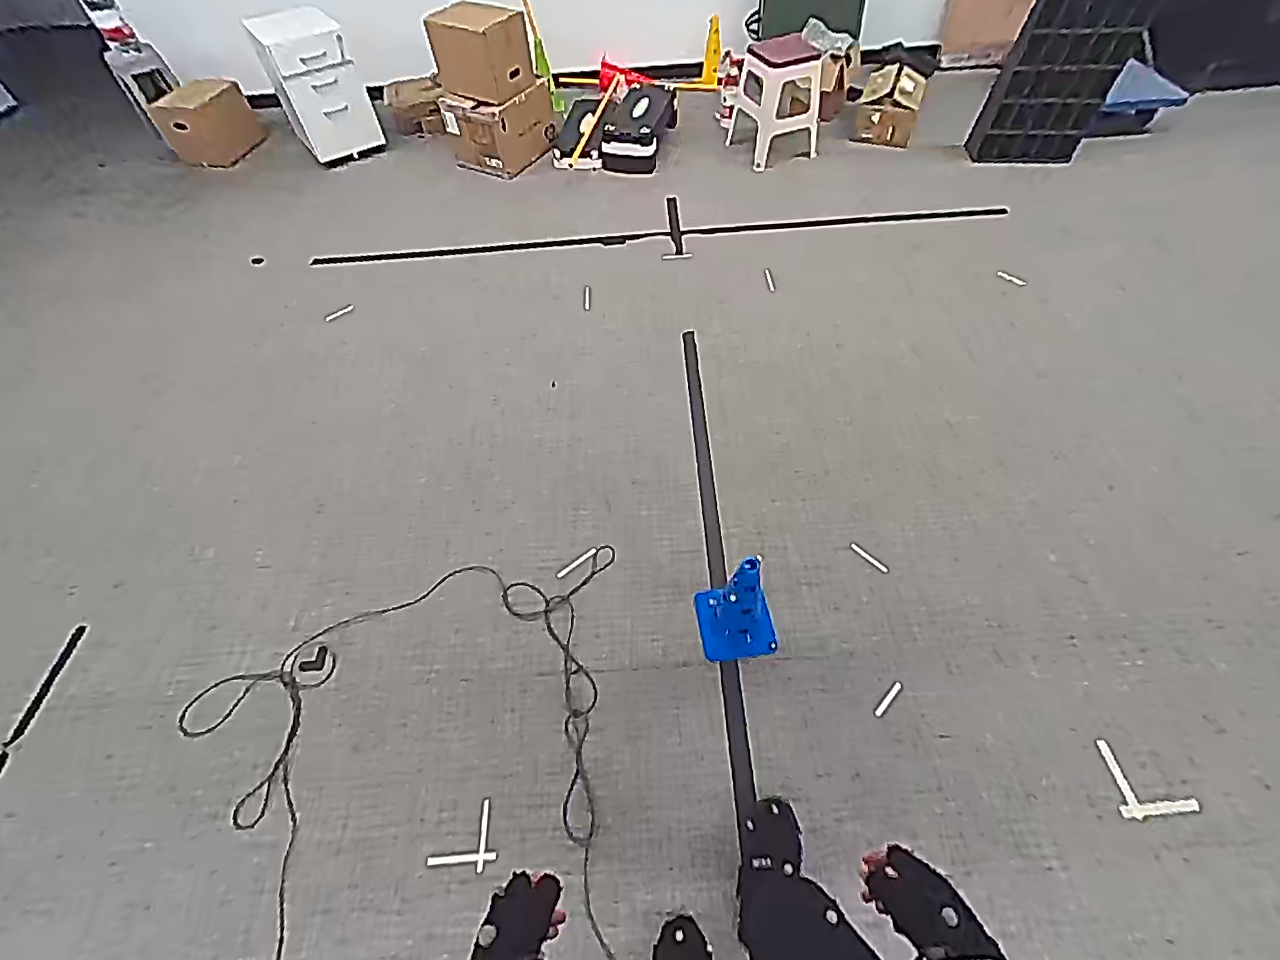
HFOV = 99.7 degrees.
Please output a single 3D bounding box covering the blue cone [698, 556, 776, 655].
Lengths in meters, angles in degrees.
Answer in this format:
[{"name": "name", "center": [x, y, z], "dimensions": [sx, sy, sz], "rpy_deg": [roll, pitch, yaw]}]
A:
[{"name": "blue cone", "center": [0.258, 0.291, 1.354], "dimensions": [0.192, 0.380, 0.193], "rpy_deg": [-6, 55, -2]}]
